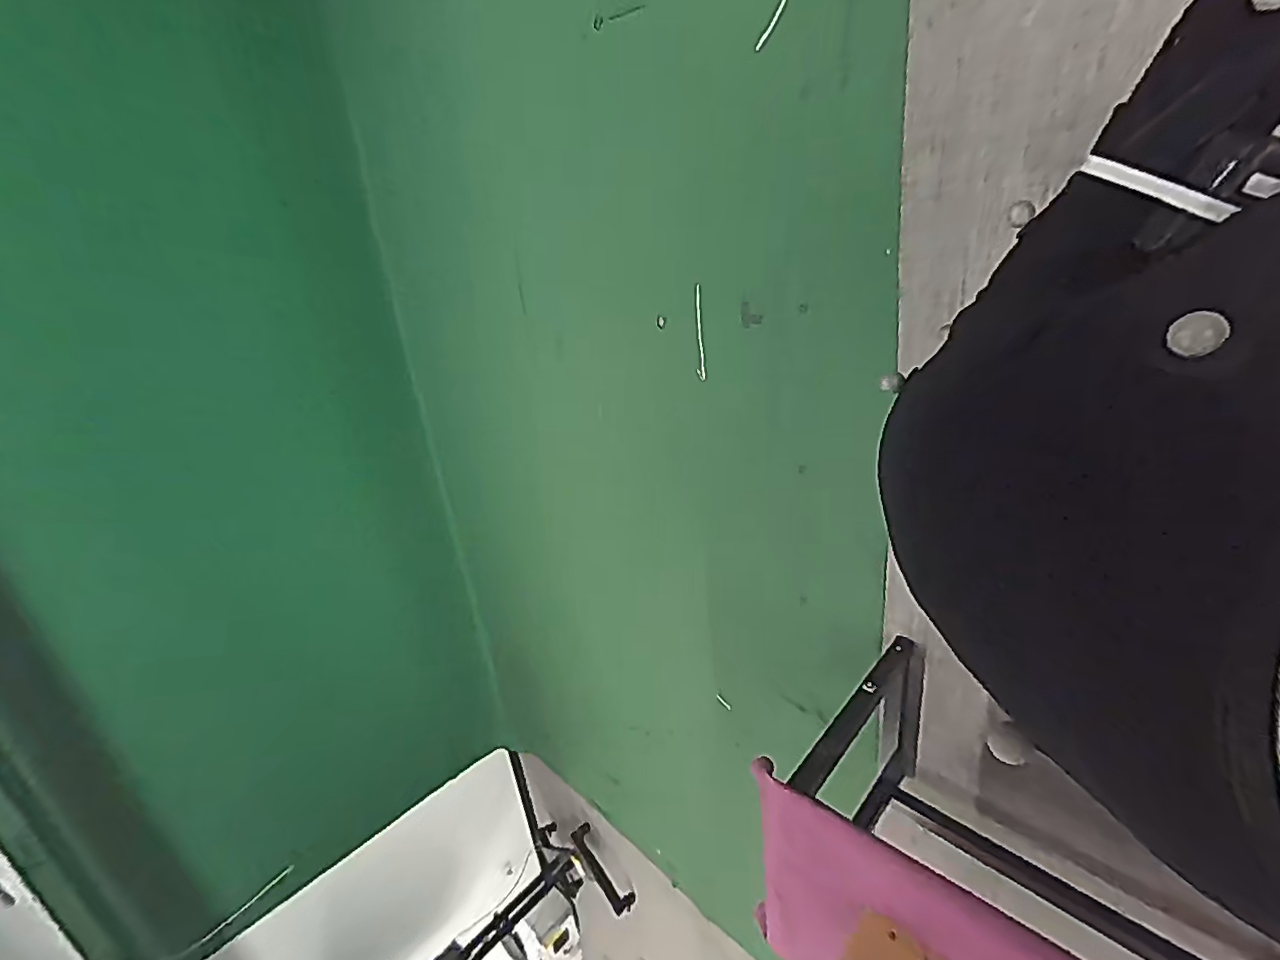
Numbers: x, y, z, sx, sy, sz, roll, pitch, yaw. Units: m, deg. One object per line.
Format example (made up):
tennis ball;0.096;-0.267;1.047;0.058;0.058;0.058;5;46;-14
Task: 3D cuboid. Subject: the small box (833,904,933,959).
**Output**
small box;0.471;0.993;1.053;0.168;0.176;0.179;21;124;42
